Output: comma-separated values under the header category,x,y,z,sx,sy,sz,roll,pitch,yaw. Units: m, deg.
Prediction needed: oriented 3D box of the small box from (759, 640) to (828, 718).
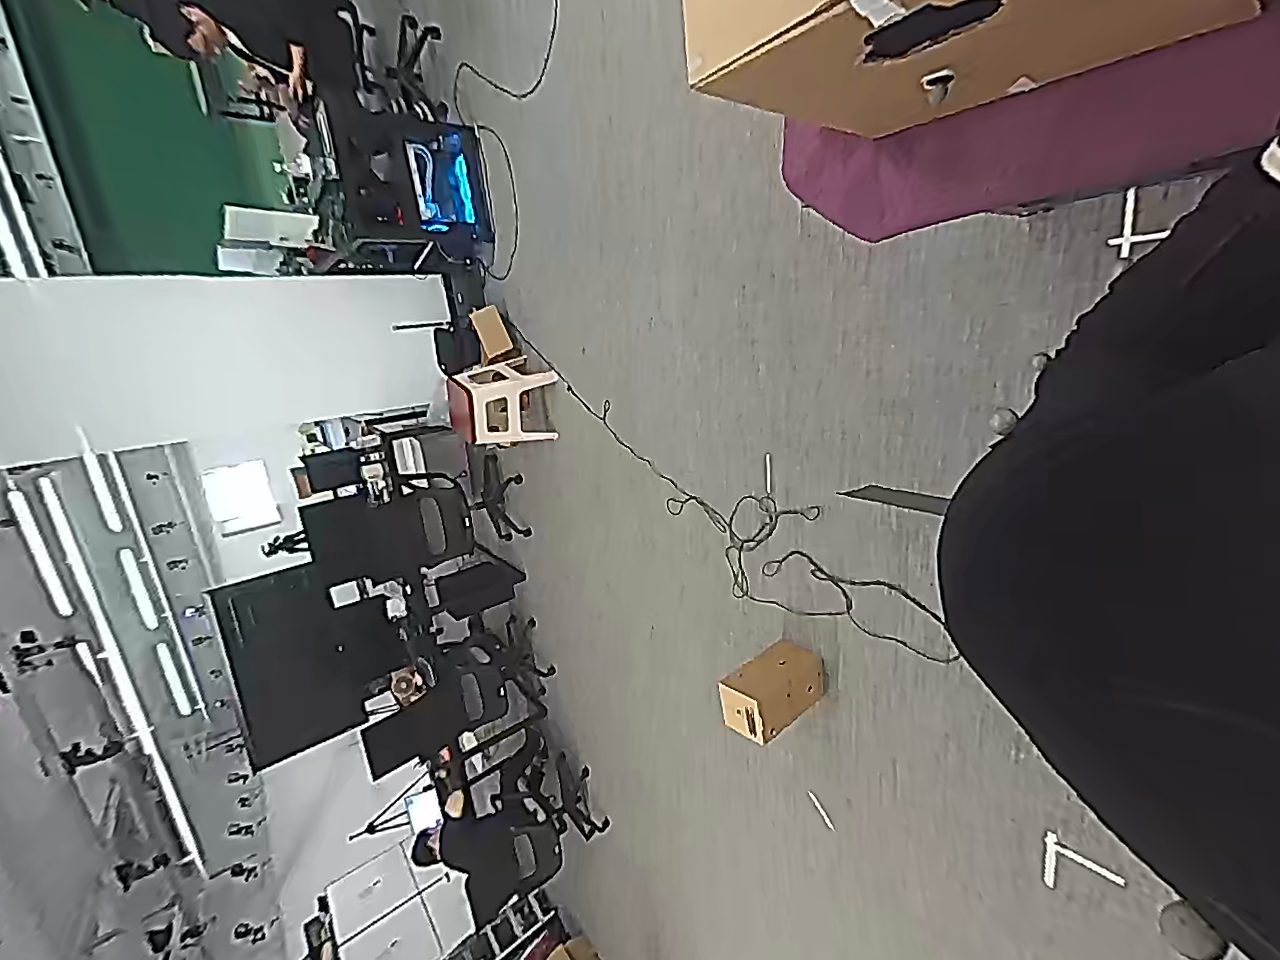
category,x,y,z,sx,sy,sz,roll,pitch,yaw
small box,0.545,0.688,1.898,0.179,0.176,0.168,13,114,52
